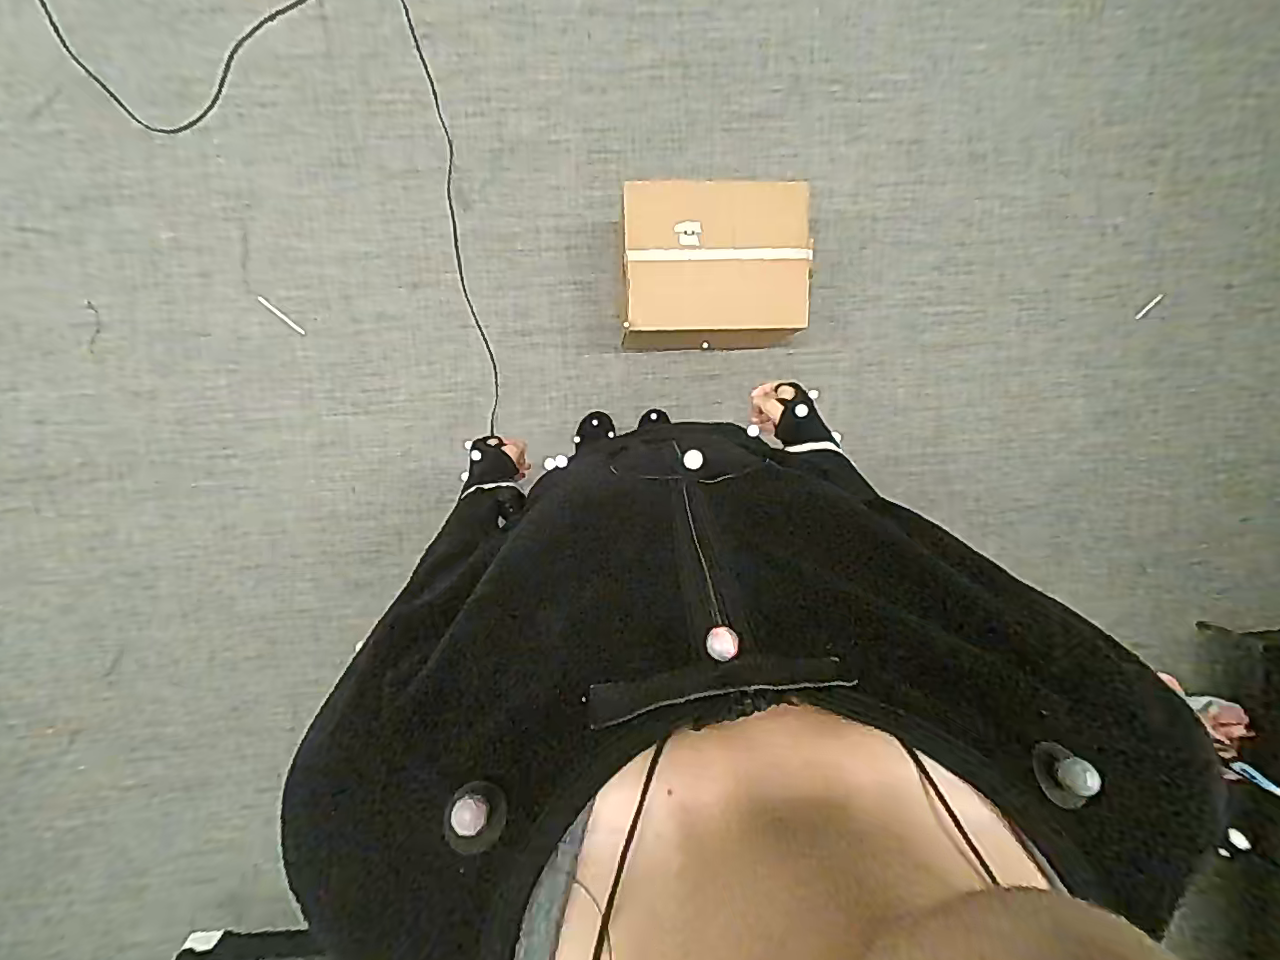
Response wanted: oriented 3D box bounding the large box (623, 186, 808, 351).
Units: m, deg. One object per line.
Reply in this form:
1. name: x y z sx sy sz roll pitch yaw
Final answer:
1. large box: 0.165 -0.493 1.328 0.408 0.320 0.320 -2 95 -3
